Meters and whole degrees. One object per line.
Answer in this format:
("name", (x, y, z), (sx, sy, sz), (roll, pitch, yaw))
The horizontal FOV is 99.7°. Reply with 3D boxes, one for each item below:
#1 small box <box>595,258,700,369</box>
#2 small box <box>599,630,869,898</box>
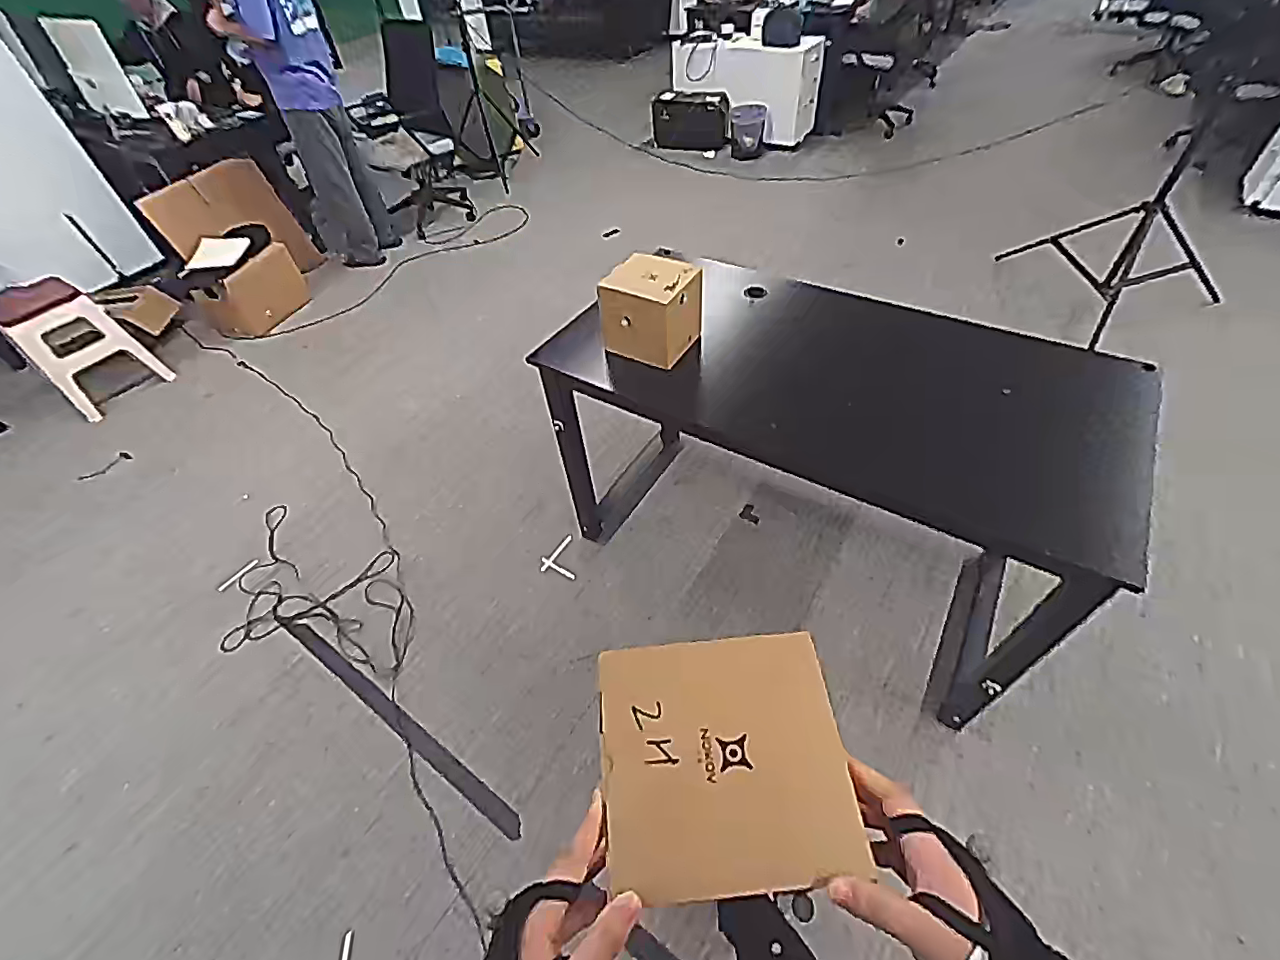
("small box", (0.023, -0.375, 1.223), (0.179, 0.176, 0.168), (22, 54, 23))
("small box", (0.061, 0.242, 0.460), (0.179, 0.176, 0.168), (-6, 53, -1))
